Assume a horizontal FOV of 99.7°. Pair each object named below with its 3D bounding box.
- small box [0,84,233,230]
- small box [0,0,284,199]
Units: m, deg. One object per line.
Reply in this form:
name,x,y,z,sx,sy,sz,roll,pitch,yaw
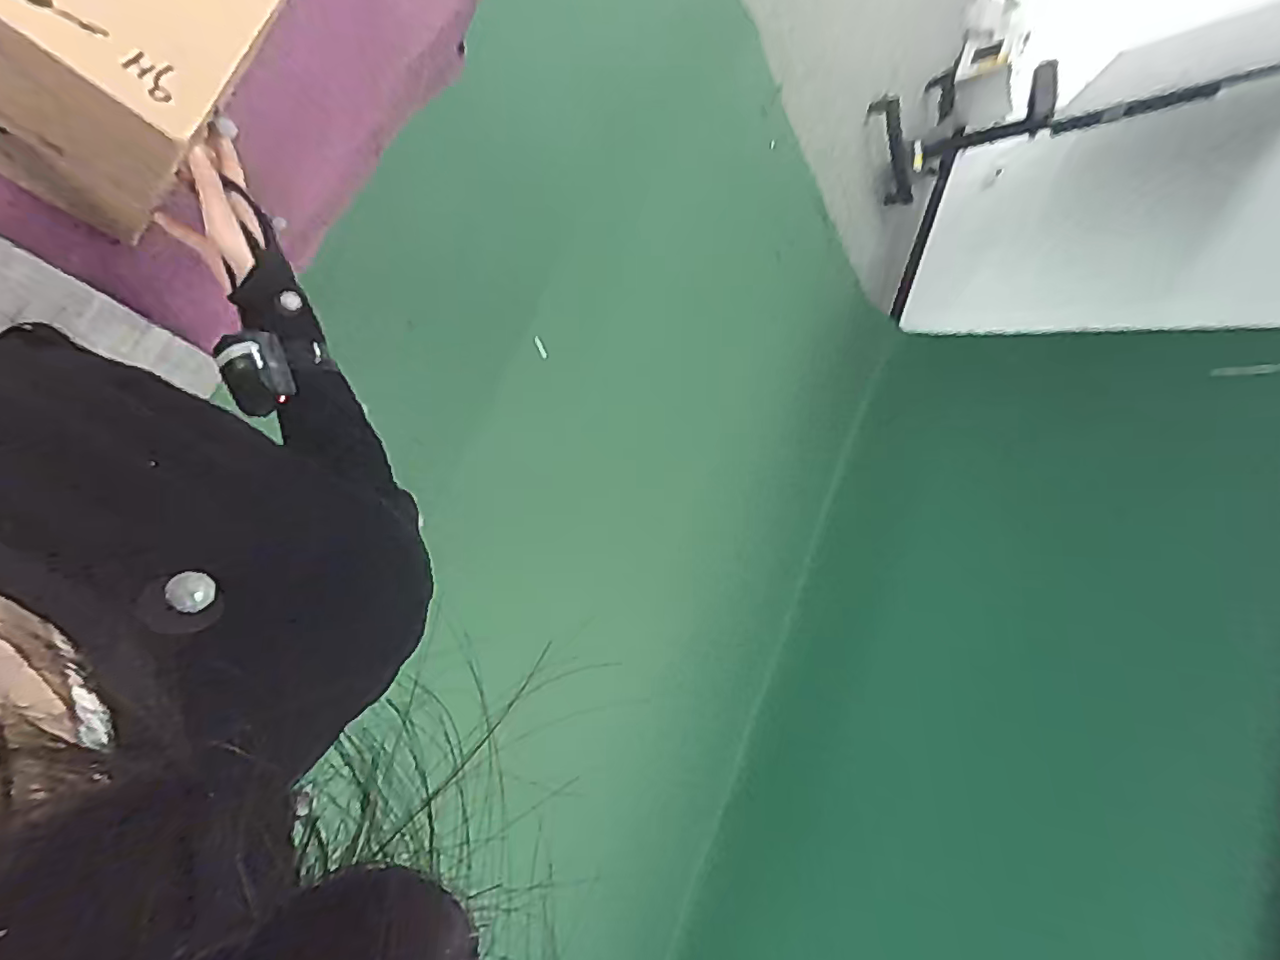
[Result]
small box,-0.498,-0.350,0.467,0.179,0.176,0.168,34,70,-45
small box,-0.374,-0.331,0.360,0.168,0.176,0.179,33,70,-44
